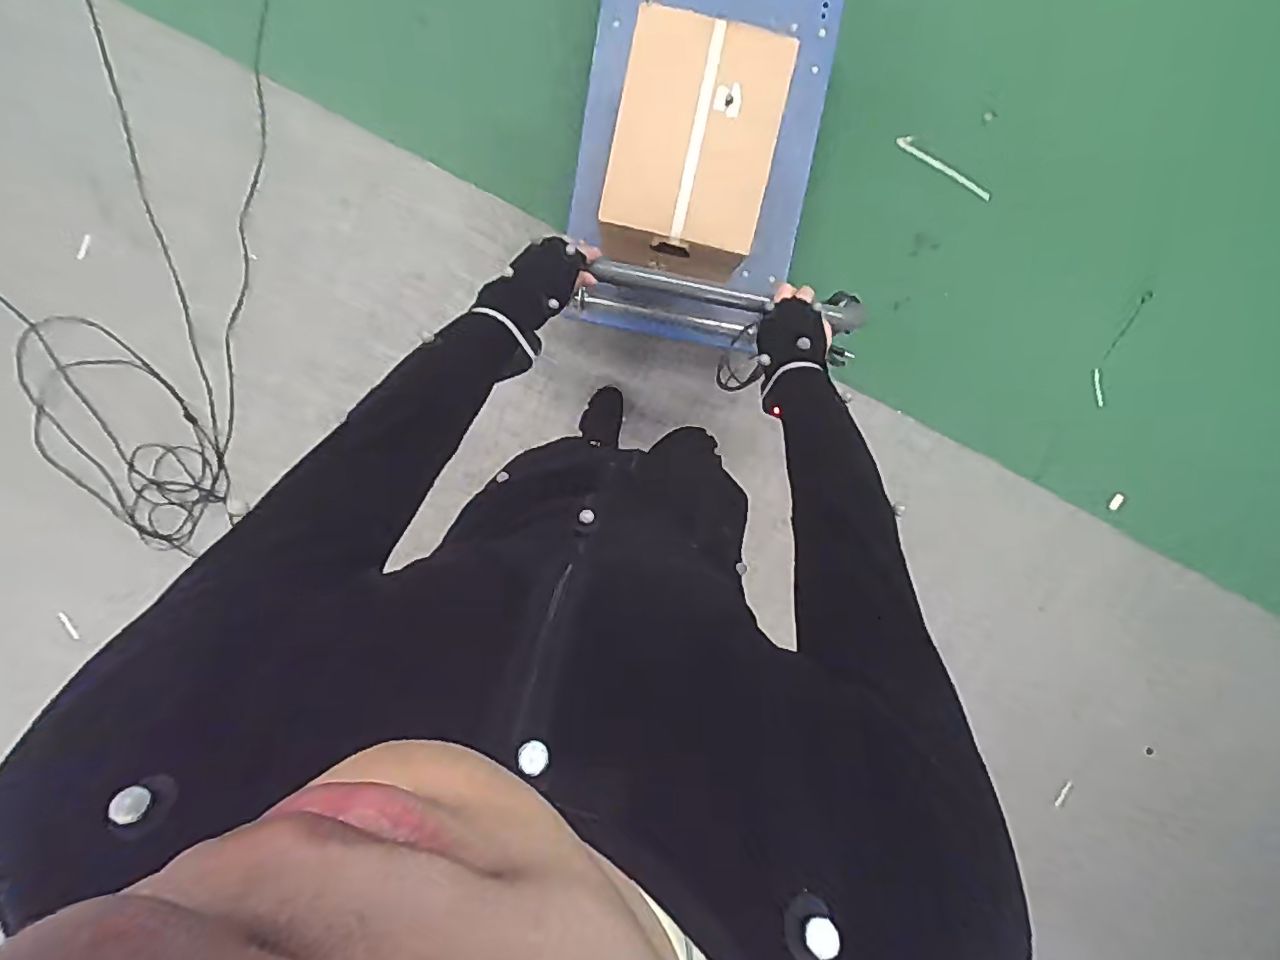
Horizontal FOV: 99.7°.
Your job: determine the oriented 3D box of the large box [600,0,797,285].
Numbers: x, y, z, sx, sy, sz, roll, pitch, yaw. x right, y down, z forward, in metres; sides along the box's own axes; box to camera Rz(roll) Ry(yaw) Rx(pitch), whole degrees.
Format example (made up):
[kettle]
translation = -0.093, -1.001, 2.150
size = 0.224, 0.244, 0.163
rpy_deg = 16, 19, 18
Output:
[large box]
translation = 0.106, -0.689, 1.183
size = 0.320, 0.320, 0.408
rpy_deg = 12, 97, -4
